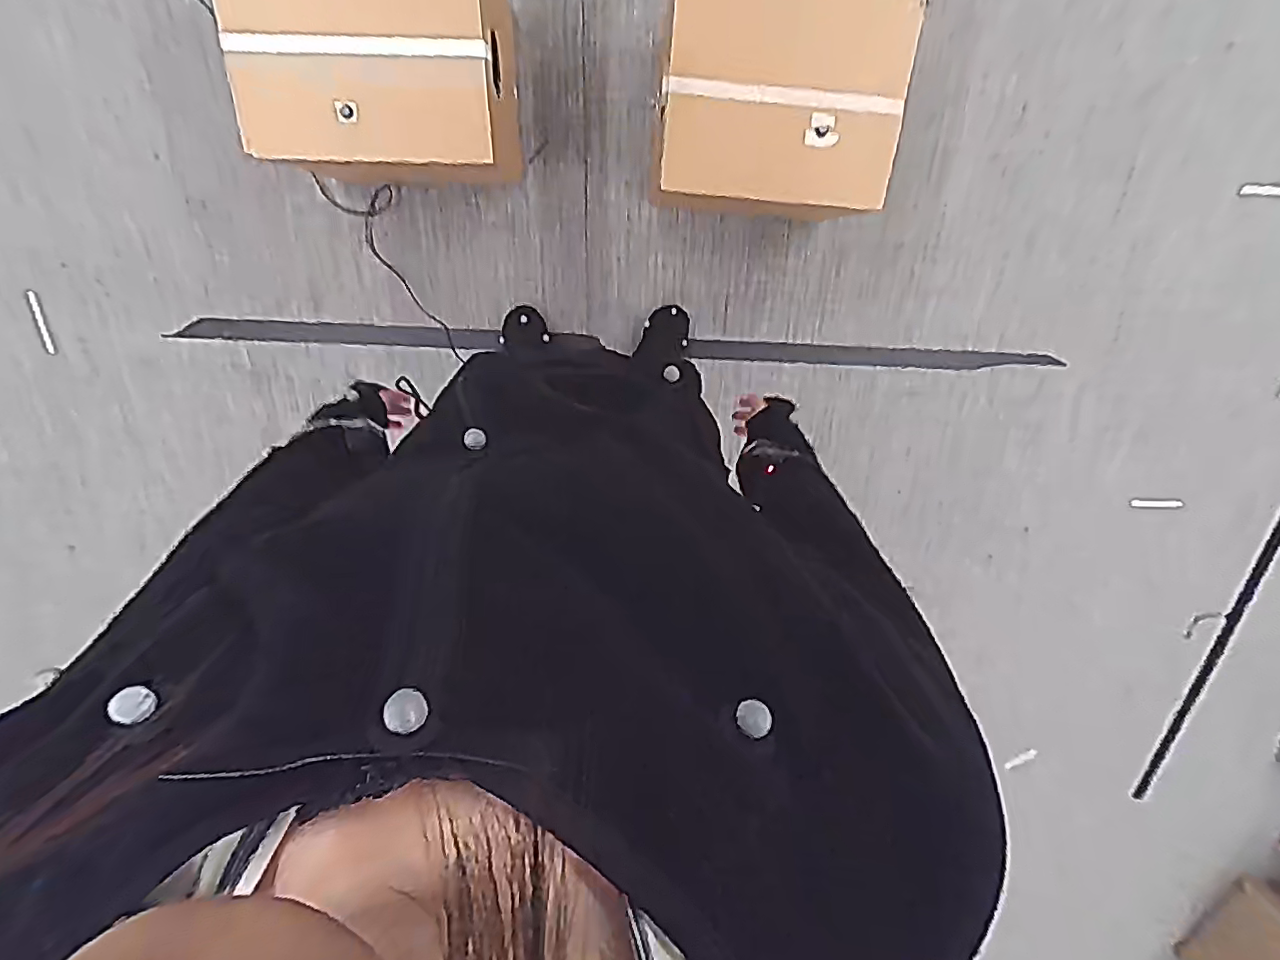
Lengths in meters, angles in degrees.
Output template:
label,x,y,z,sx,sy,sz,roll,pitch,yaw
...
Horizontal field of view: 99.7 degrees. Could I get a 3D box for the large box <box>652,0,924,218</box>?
label,x,y,z,sx,sy,sz,roll,pitch,yaw
large box,0.241,-0.702,1.045,0.408,0.320,0.320,3,112,-5
